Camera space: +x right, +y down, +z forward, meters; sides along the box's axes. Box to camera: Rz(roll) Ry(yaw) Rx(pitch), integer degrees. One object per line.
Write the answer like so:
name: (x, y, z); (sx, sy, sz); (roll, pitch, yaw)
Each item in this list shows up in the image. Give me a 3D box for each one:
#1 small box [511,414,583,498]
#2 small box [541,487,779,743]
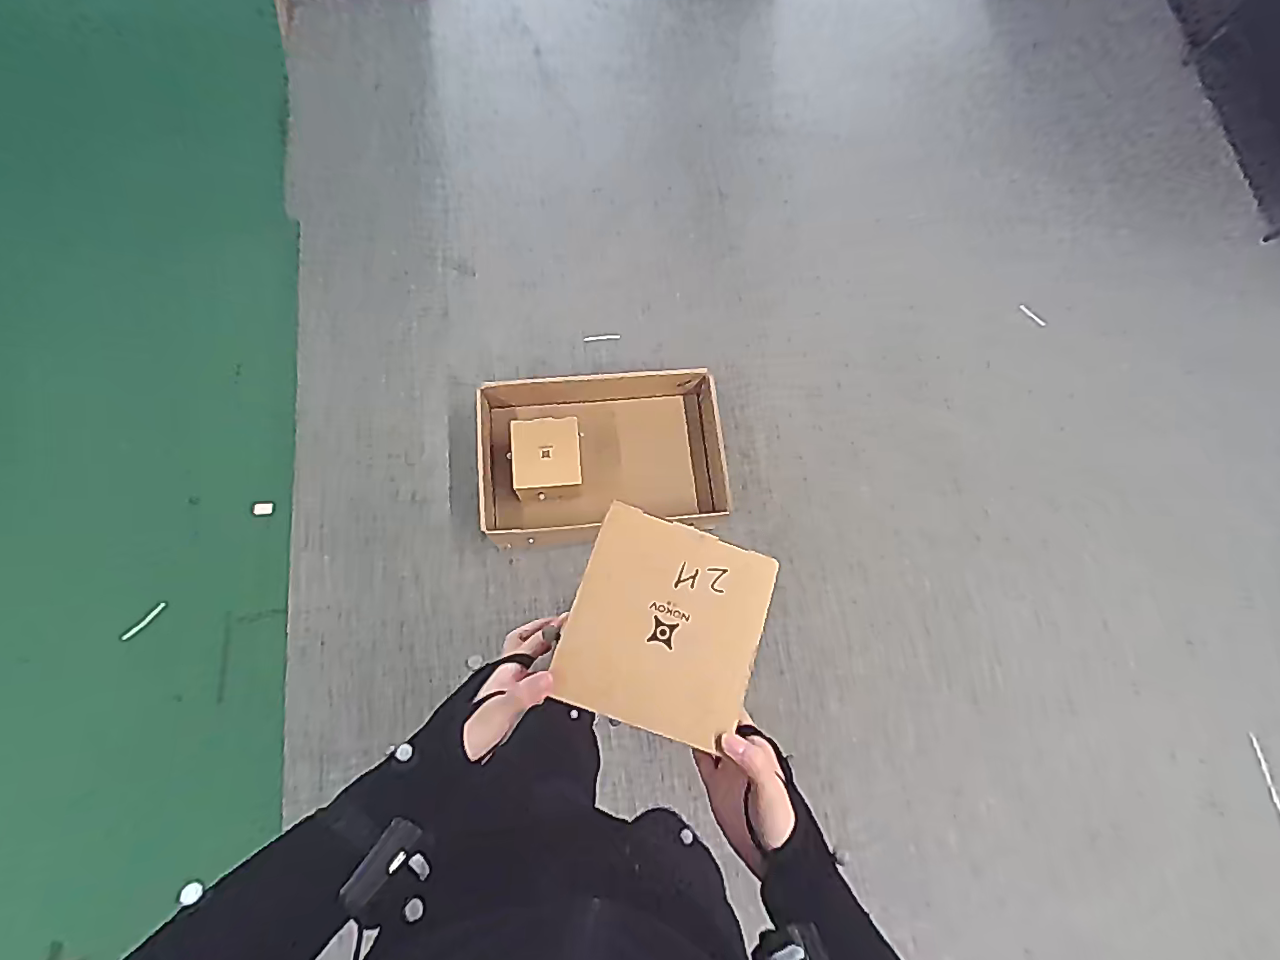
small box: (-0.235, -0.054, 1.390); (0.168, 0.176, 0.179); (-4, 75, -6)
small box: (0.014, 0.132, 0.542); (0.168, 0.176, 0.179); (21, 73, -2)
